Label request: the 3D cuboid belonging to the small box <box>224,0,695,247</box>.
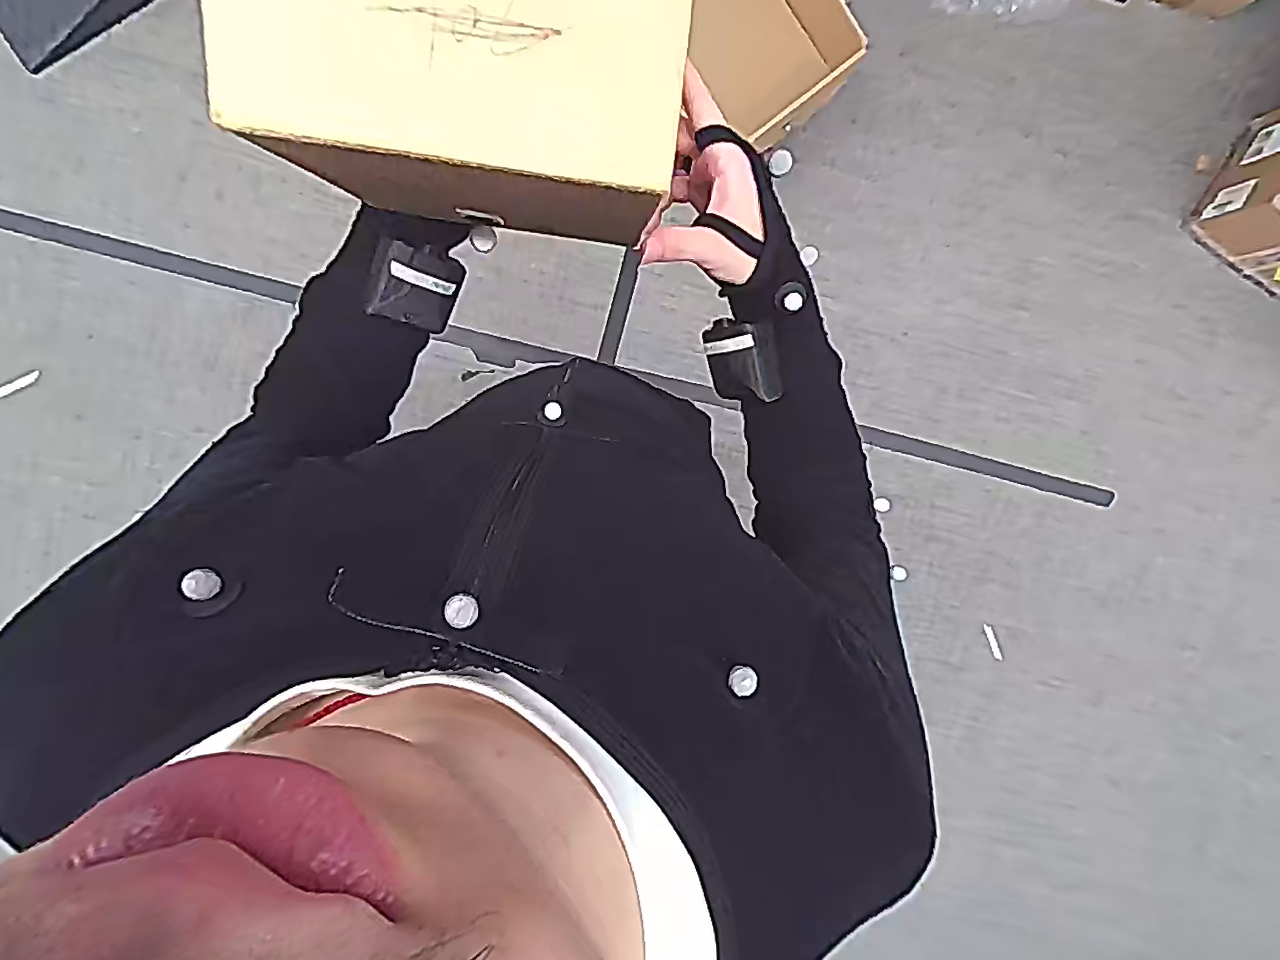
[{"bbox_3d":[-0.065,-0.228,0.263,0.168,0.176,0.179,6,106,-7],"label":"small box"}]
